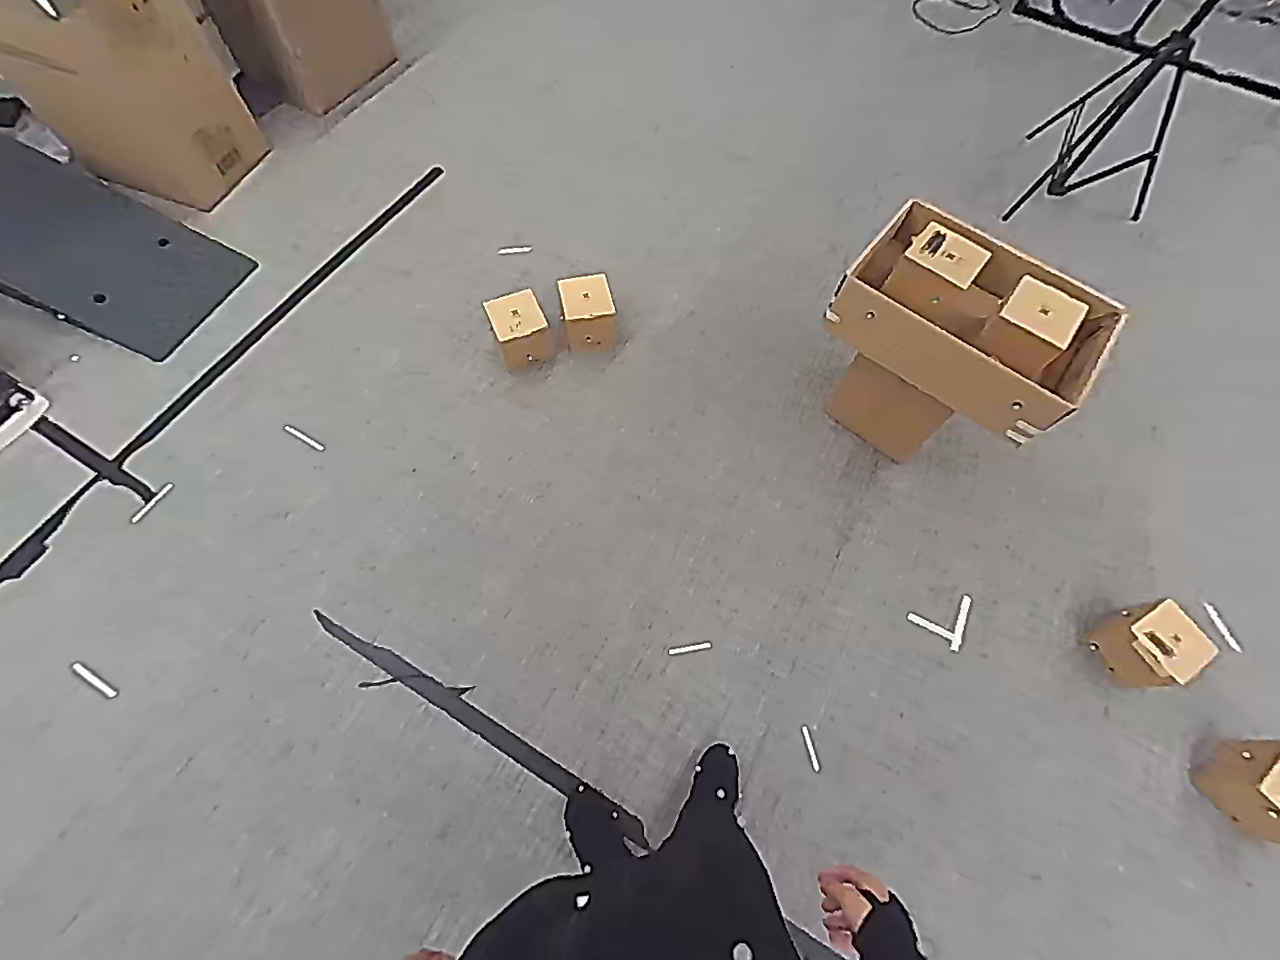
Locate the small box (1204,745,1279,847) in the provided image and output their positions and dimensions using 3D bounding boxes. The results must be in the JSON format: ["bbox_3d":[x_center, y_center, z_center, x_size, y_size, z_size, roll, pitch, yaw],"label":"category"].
[{"bbox_3d":[1.576,0.776,1.335,0.179,0.176,0.168,-32,70,-17],"label":"small box"}]

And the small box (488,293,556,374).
[{"bbox_3d":[-0.394,-0.491,1.825,0.168,0.176,0.179,-22,69,-11],"label":"small box"}]

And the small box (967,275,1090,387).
[{"bbox_3d":[0.975,-0.373,1.371,0.168,0.176,0.179,36,66,15],"label":"small box"}]

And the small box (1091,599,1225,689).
[{"bbox_3d":[1.394,0.453,1.475,0.179,0.176,0.168,-26,69,-14],"label":"small box"}]

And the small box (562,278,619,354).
[{"bbox_3d":[-0.173,-0.564,1.872,0.168,0.176,0.179,-12,68,-8],"label":"small box"}]
